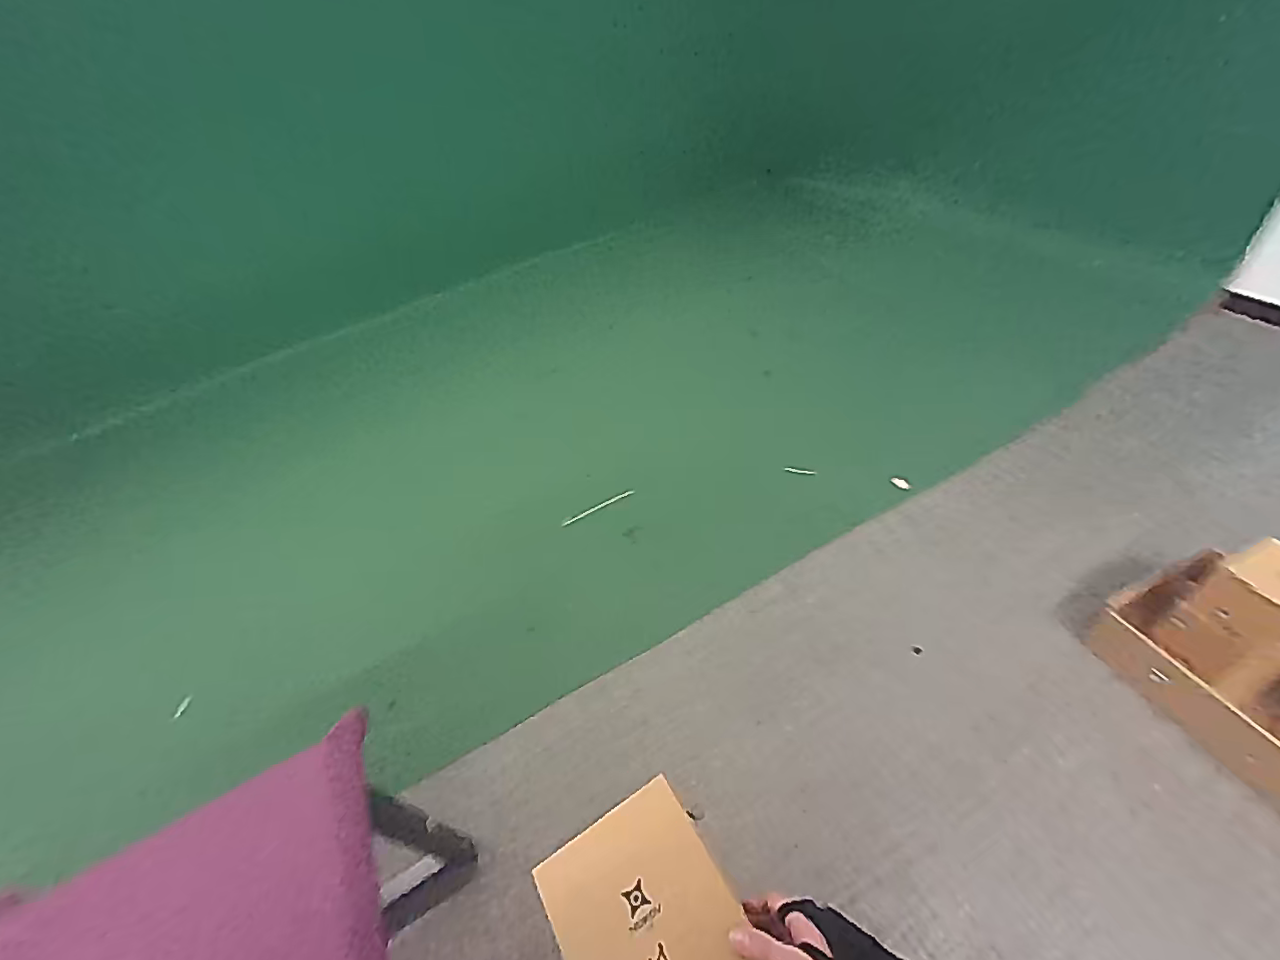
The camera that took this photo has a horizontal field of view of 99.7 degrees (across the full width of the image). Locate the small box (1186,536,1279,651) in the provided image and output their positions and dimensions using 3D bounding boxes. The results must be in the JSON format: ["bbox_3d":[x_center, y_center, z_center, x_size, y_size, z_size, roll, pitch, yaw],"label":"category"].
[{"bbox_3d":[1.460,0.267,1.266,0.179,0.176,0.168,-23,47,-10],"label":"small box"}]
